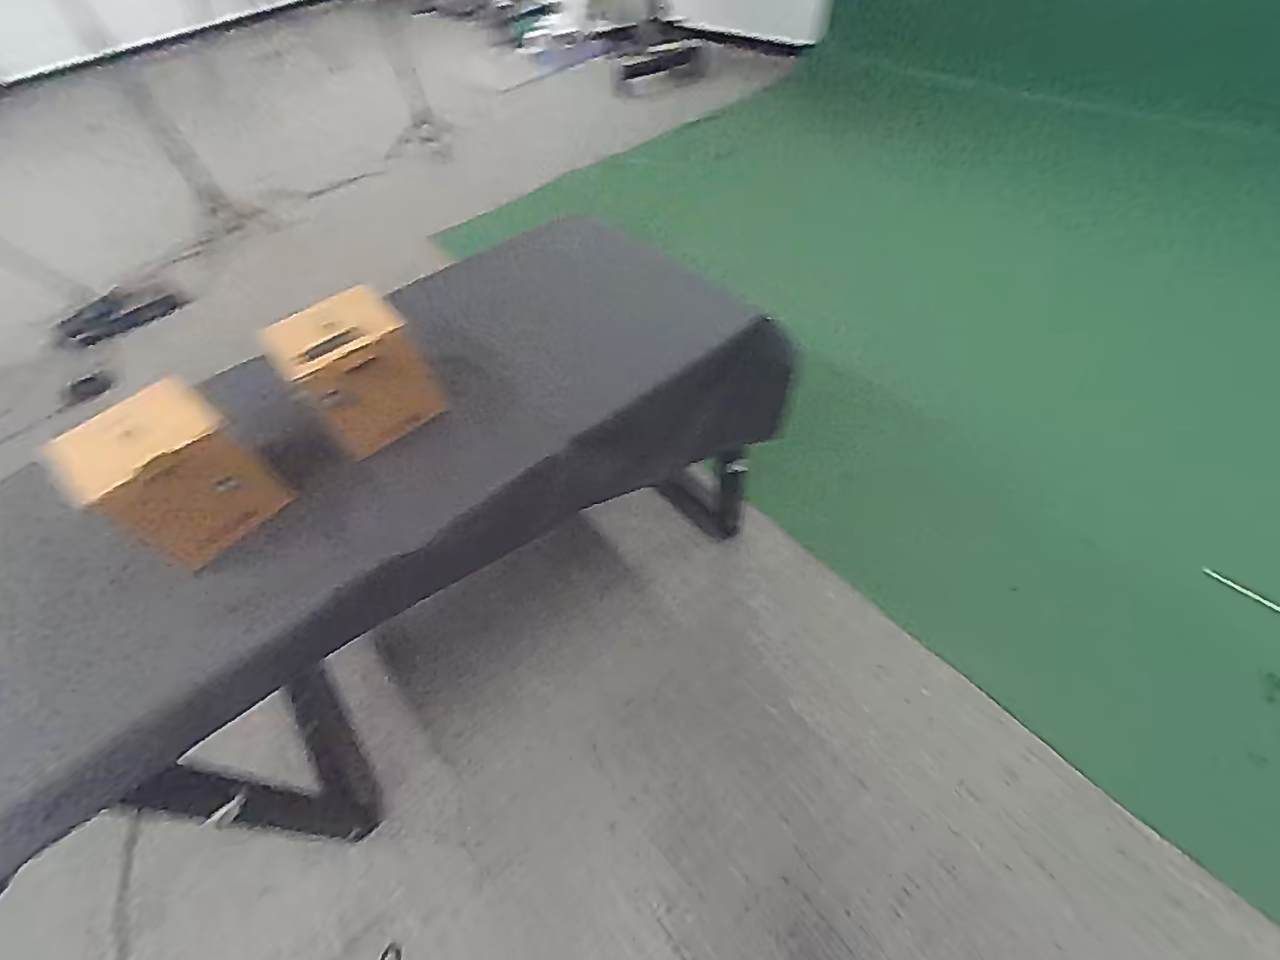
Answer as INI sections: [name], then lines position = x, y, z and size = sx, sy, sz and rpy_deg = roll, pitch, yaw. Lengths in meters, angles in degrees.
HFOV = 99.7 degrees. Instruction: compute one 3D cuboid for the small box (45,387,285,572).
[small box]
position = -0.653, 0.004, 0.763
size = 0.179, 0.176, 0.168
rpy_deg = 29, 60, 28
